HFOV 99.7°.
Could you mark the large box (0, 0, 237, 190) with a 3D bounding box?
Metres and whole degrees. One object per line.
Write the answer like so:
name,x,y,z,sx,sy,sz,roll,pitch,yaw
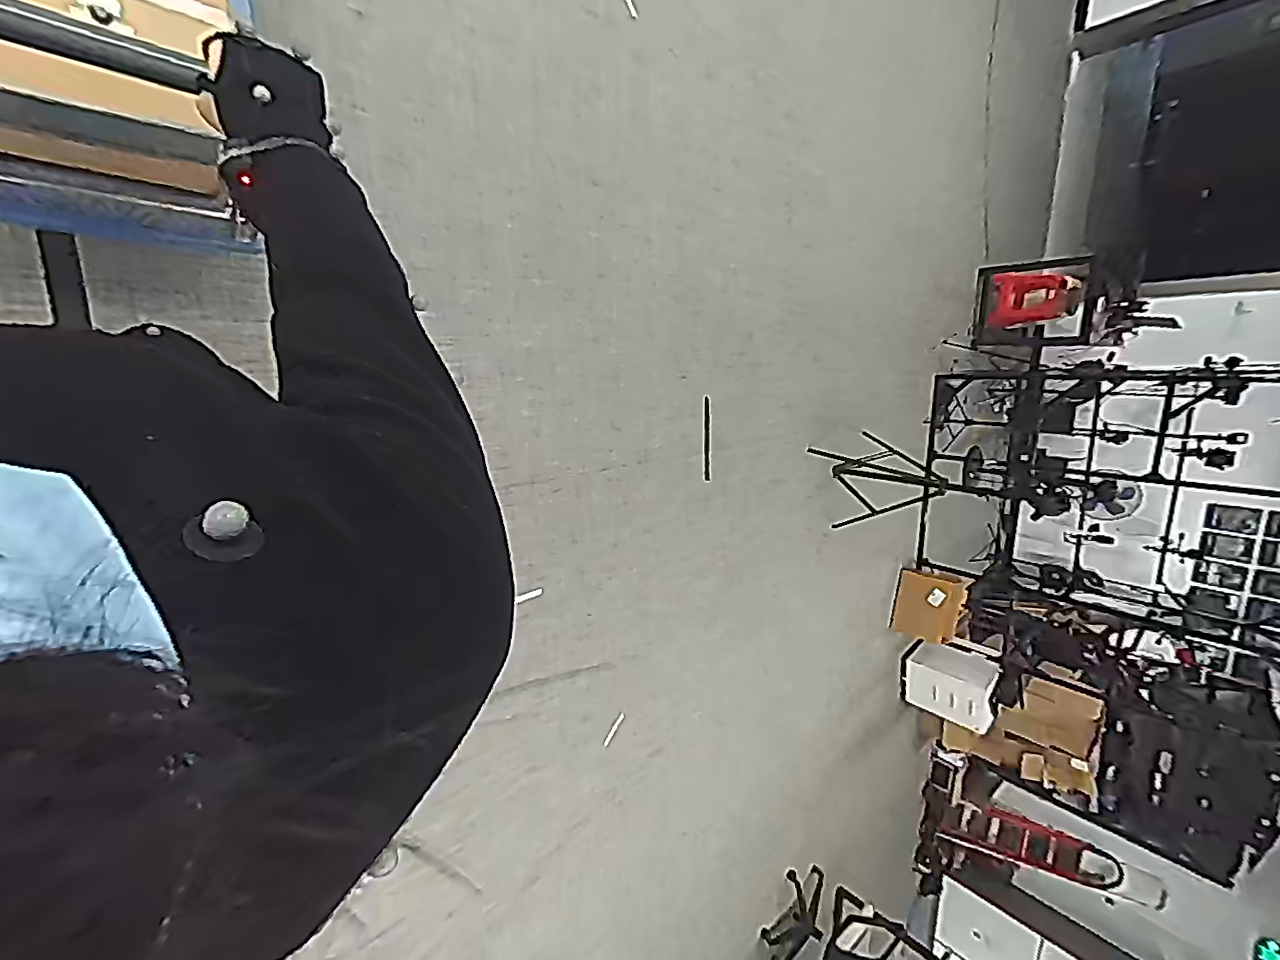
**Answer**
large box,-0.833,-0.637,0.732,0.408,0.320,0.320,-8,105,-43
